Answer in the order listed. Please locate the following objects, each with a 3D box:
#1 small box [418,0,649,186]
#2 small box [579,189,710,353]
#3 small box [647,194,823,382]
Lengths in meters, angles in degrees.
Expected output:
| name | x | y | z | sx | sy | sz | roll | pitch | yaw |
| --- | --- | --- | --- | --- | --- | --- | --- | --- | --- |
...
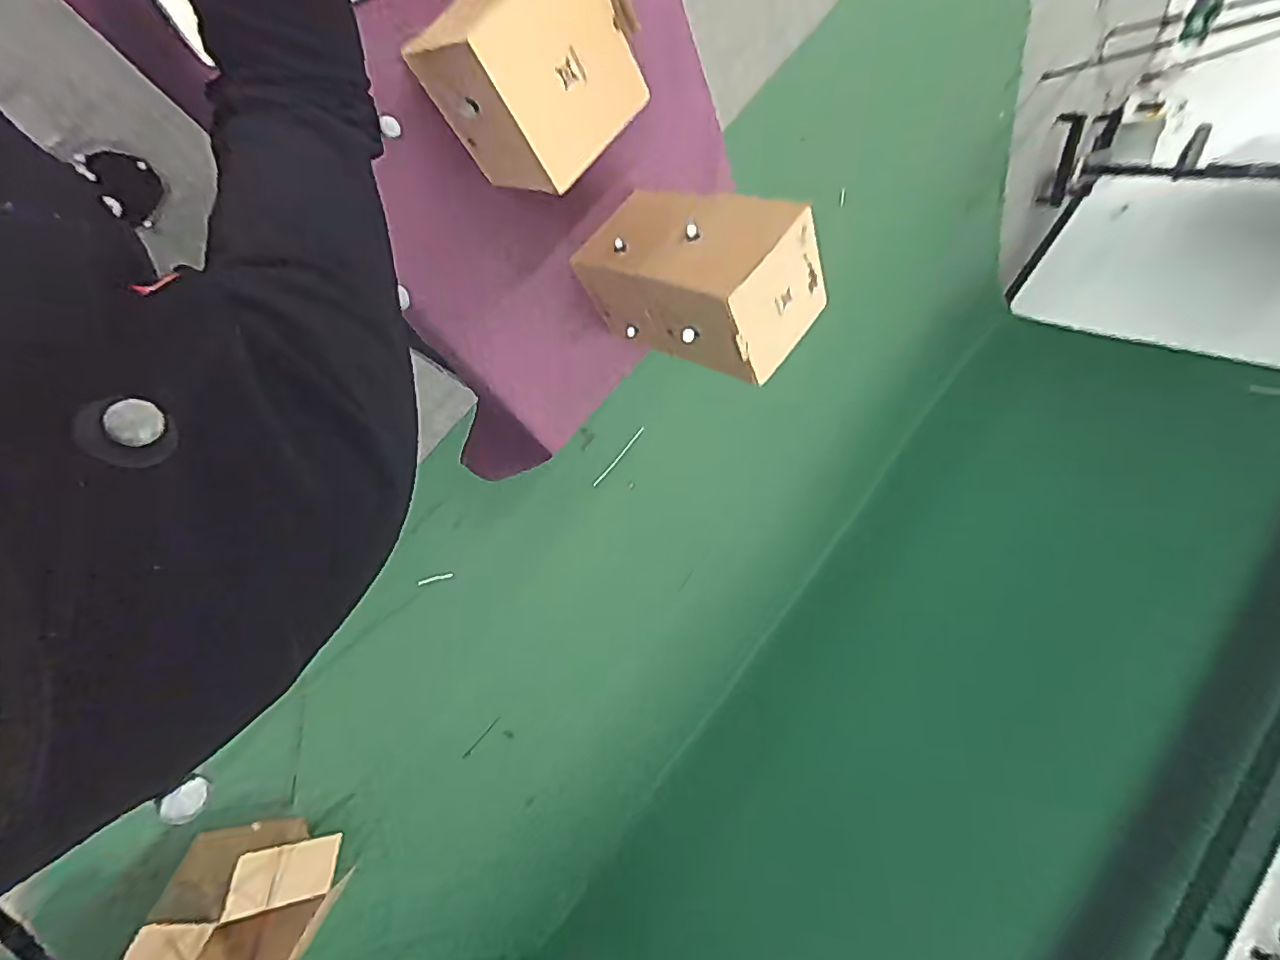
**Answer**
| name | x | y | z | sx | sy | sz | roll | pitch | yaw |
| --- | --- | --- | --- | --- | --- | --- | --- | --- | --- |
| small box | -0.128 | -0.475 | 0.629 | 0.179 | 0.176 | 0.168 | -52 | 141 | -9 |
| small box | 0.025 | -0.341 | 0.877 | 0.179 | 0.176 | 0.168 | -49 | 141 | -11 |
| small box | 0.131 | -0.276 | 0.770 | 0.179 | 0.176 | 0.168 | -49 | 141 | -10 |
